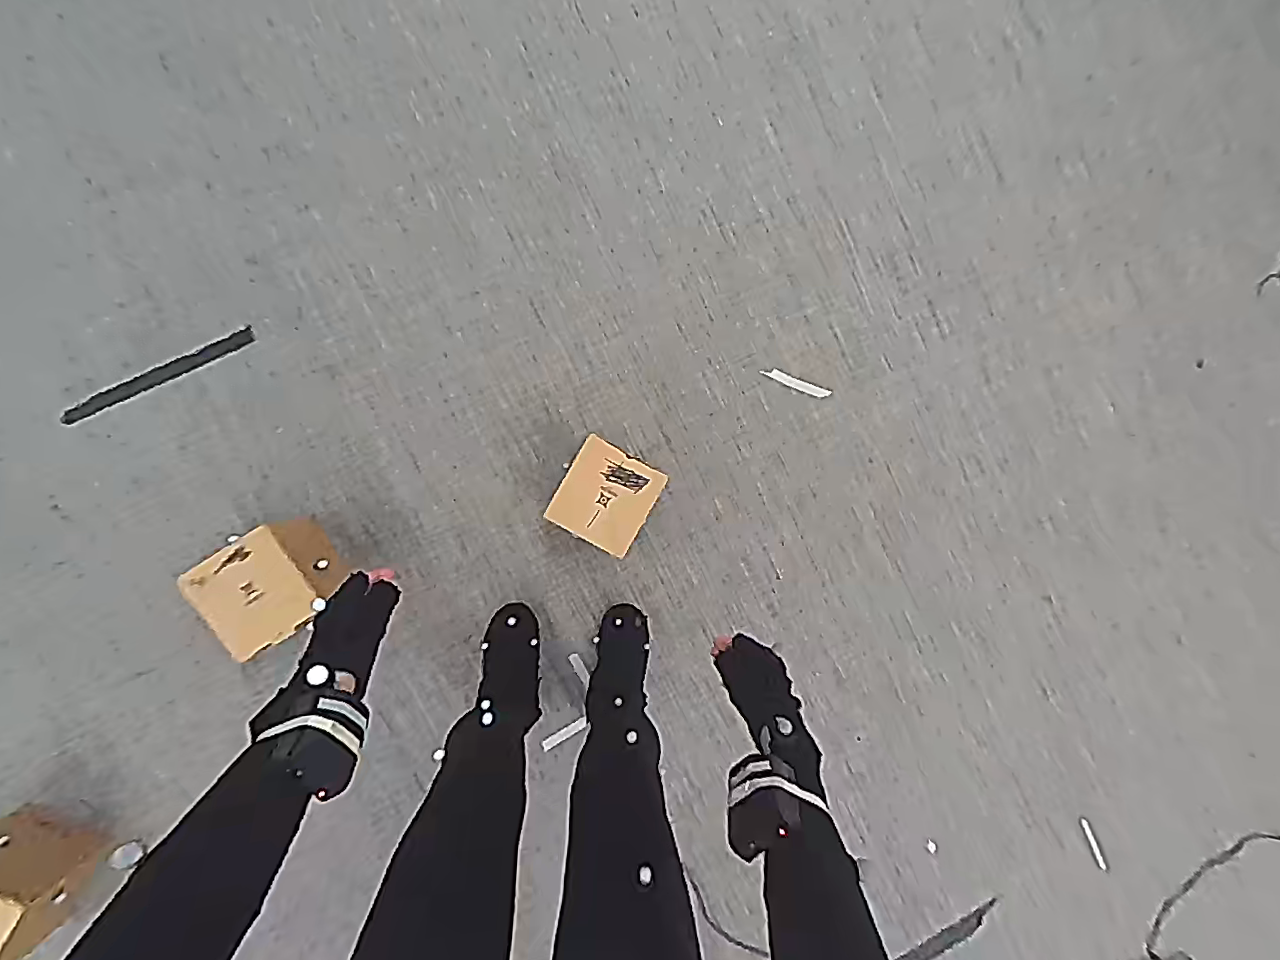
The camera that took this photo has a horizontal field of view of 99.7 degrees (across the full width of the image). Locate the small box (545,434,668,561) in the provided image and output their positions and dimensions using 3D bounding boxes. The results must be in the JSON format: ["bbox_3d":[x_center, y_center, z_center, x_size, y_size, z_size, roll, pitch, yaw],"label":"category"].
[{"bbox_3d":[-0.070,0.030,1.044,0.168,0.176,0.179,30,88,-7],"label":"small box"}]

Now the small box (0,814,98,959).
[{"bbox_3d":[-1.089,0.712,0.910,0.168,0.176,0.179,27,88,-6],"label":"small box"}]

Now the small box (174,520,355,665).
[{"bbox_3d":[-0.650,0.188,0.965,0.168,0.176,0.179,-34,96,-7],"label":"small box"}]
